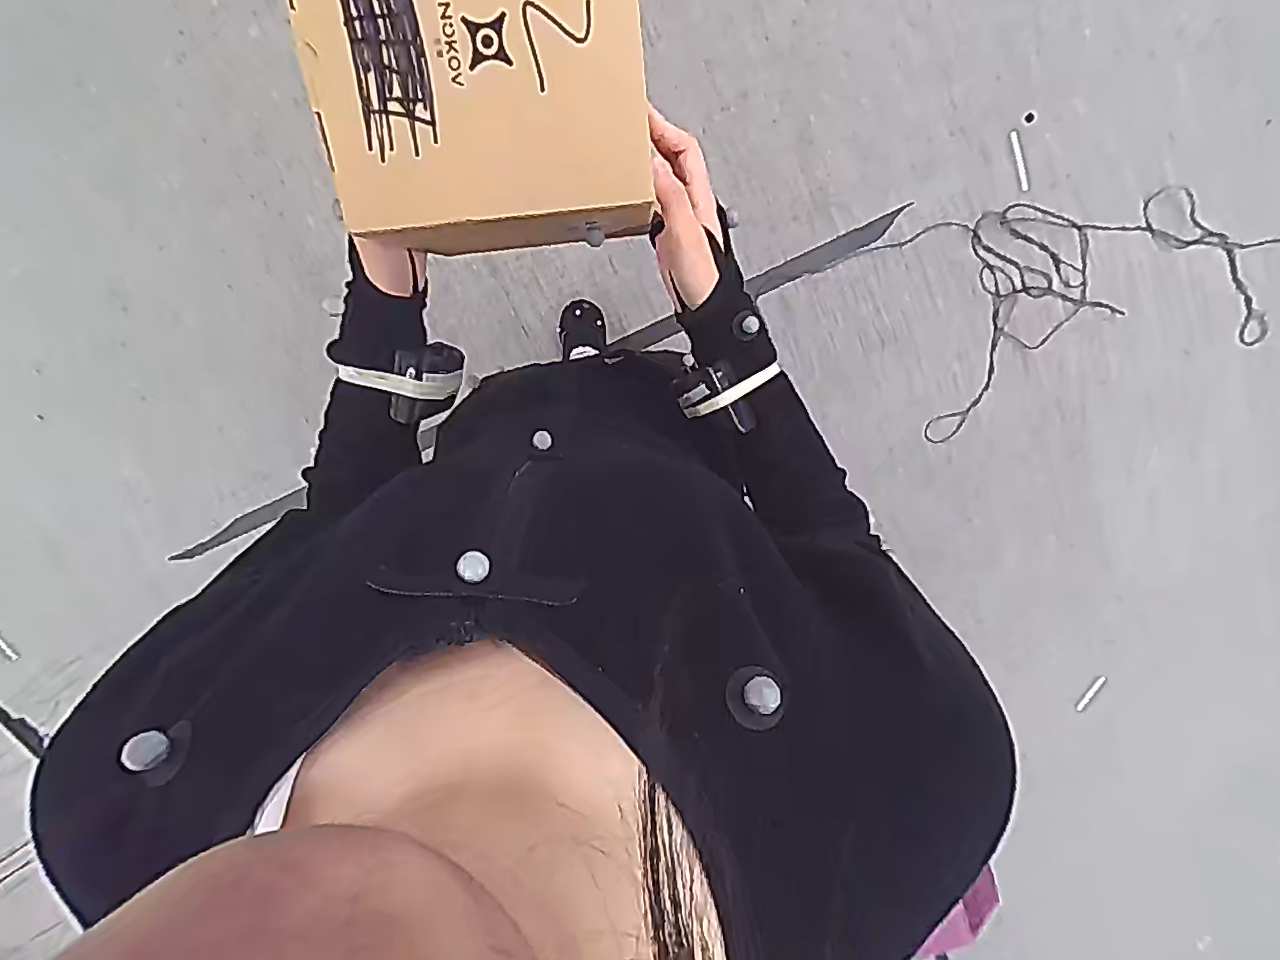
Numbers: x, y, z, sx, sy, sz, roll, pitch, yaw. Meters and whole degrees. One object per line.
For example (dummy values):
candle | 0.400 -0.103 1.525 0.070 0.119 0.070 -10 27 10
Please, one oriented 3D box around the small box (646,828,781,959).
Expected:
small box | 0.118 0.715 0.878 0.179 0.176 0.168 -21 106 5
